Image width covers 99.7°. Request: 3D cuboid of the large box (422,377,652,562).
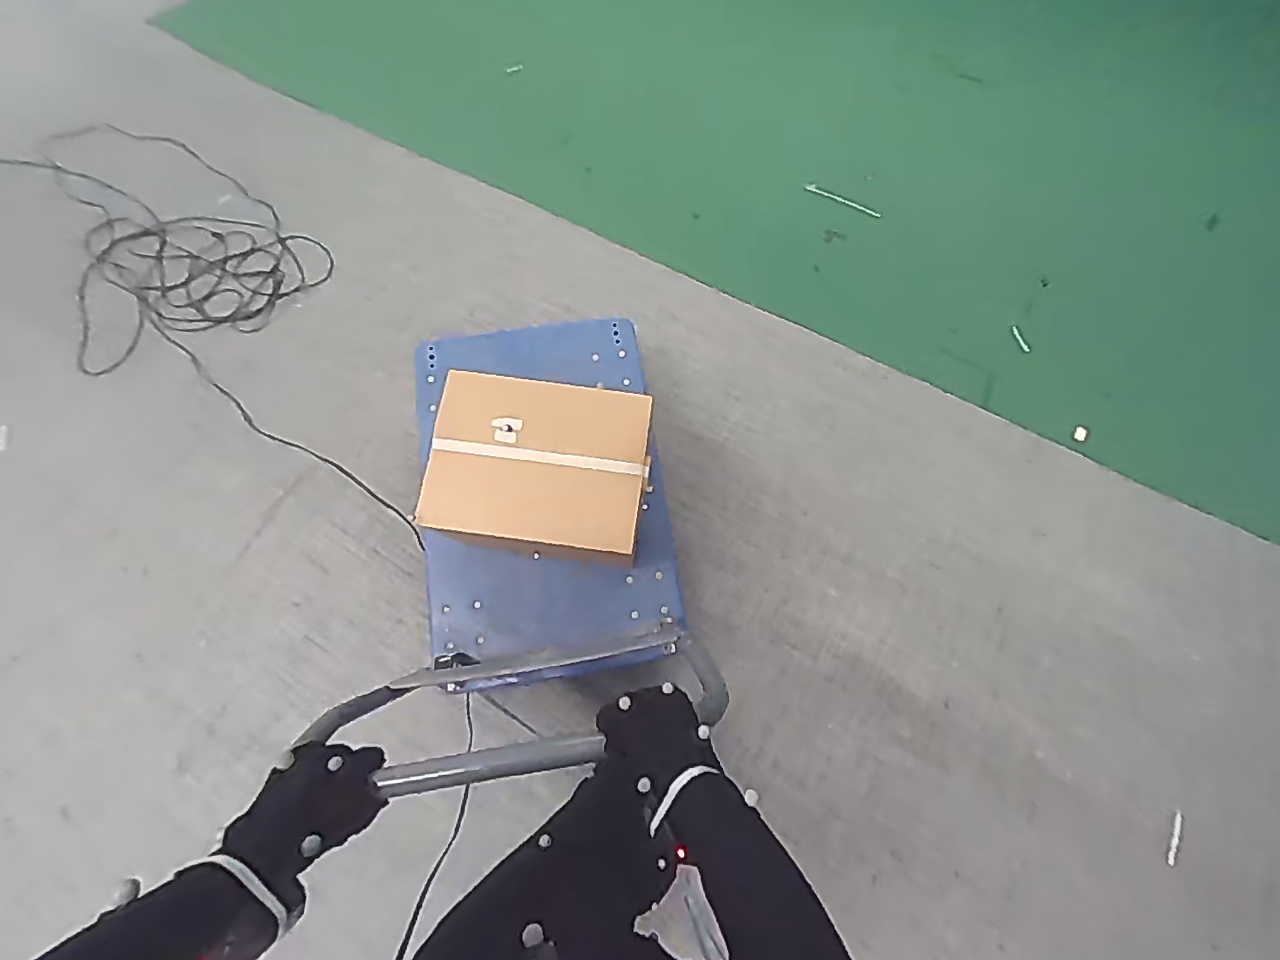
[{"bbox_3d":[-0.186,-0.002,1.162,0.408,0.320,0.320,6,76,2],"label":"large box"}]
